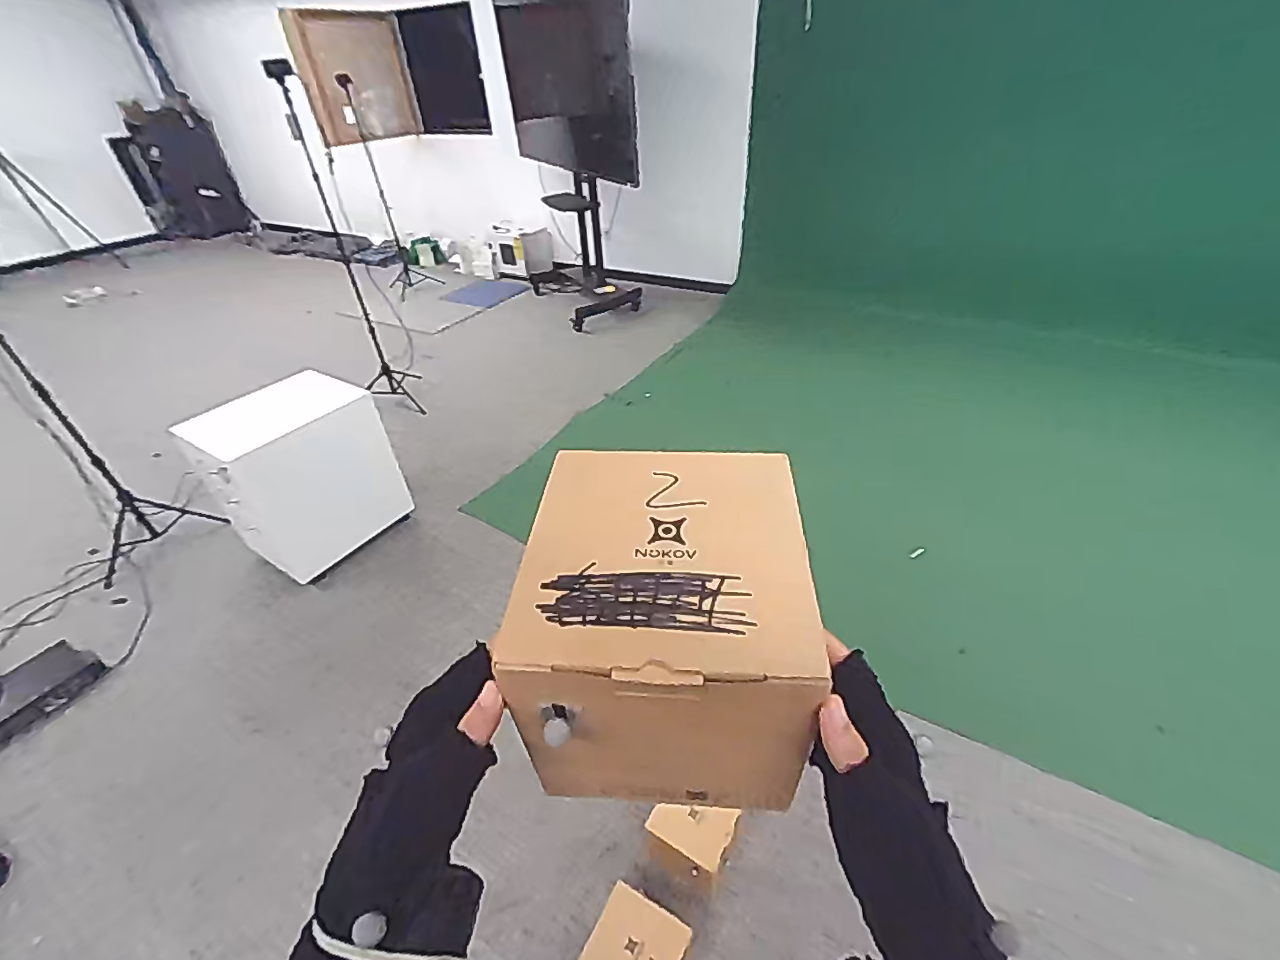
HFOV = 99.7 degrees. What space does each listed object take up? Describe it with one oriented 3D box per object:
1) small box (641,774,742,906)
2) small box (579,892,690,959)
[{"bbox_3d":[0.118,0.836,1.253,0.179,0.176,0.168,19,41,26],"label":"small box"},{"bbox_3d":[-0.016,0.974,1.066,0.179,0.176,0.168,18,42,24],"label":"small box"}]
